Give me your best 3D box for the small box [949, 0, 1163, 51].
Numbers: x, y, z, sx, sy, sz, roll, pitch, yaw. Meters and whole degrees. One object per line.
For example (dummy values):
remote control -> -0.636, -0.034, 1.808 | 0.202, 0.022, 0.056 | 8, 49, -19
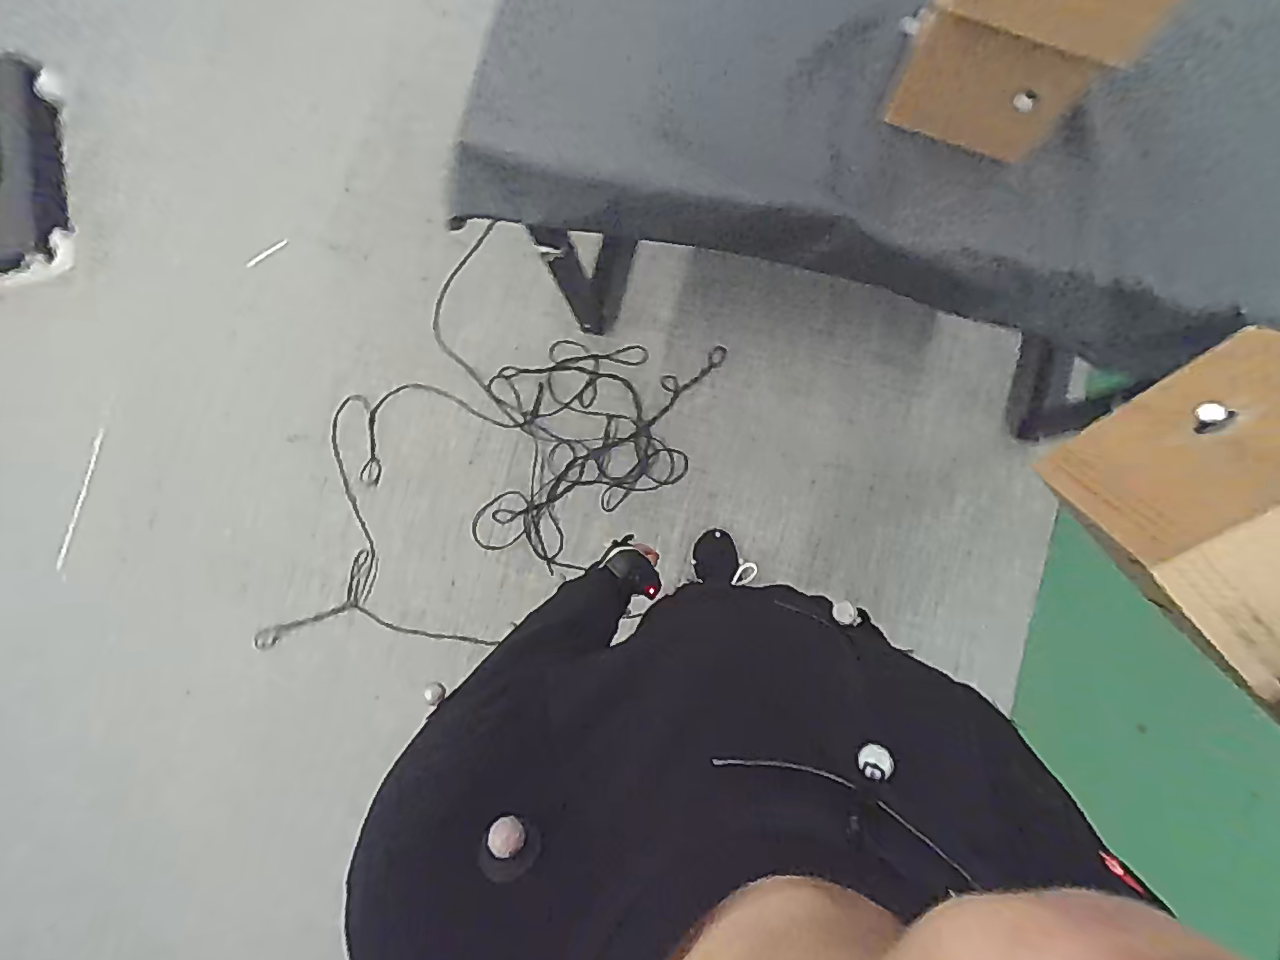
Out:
small box -> 0.380, -0.496, 0.427 | 0.179, 0.176, 0.168 | 24, 86, 7

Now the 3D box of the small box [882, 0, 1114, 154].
small box -> 0.400, -0.499, 0.589 | 0.179, 0.176, 0.168 | 22, 86, 8
